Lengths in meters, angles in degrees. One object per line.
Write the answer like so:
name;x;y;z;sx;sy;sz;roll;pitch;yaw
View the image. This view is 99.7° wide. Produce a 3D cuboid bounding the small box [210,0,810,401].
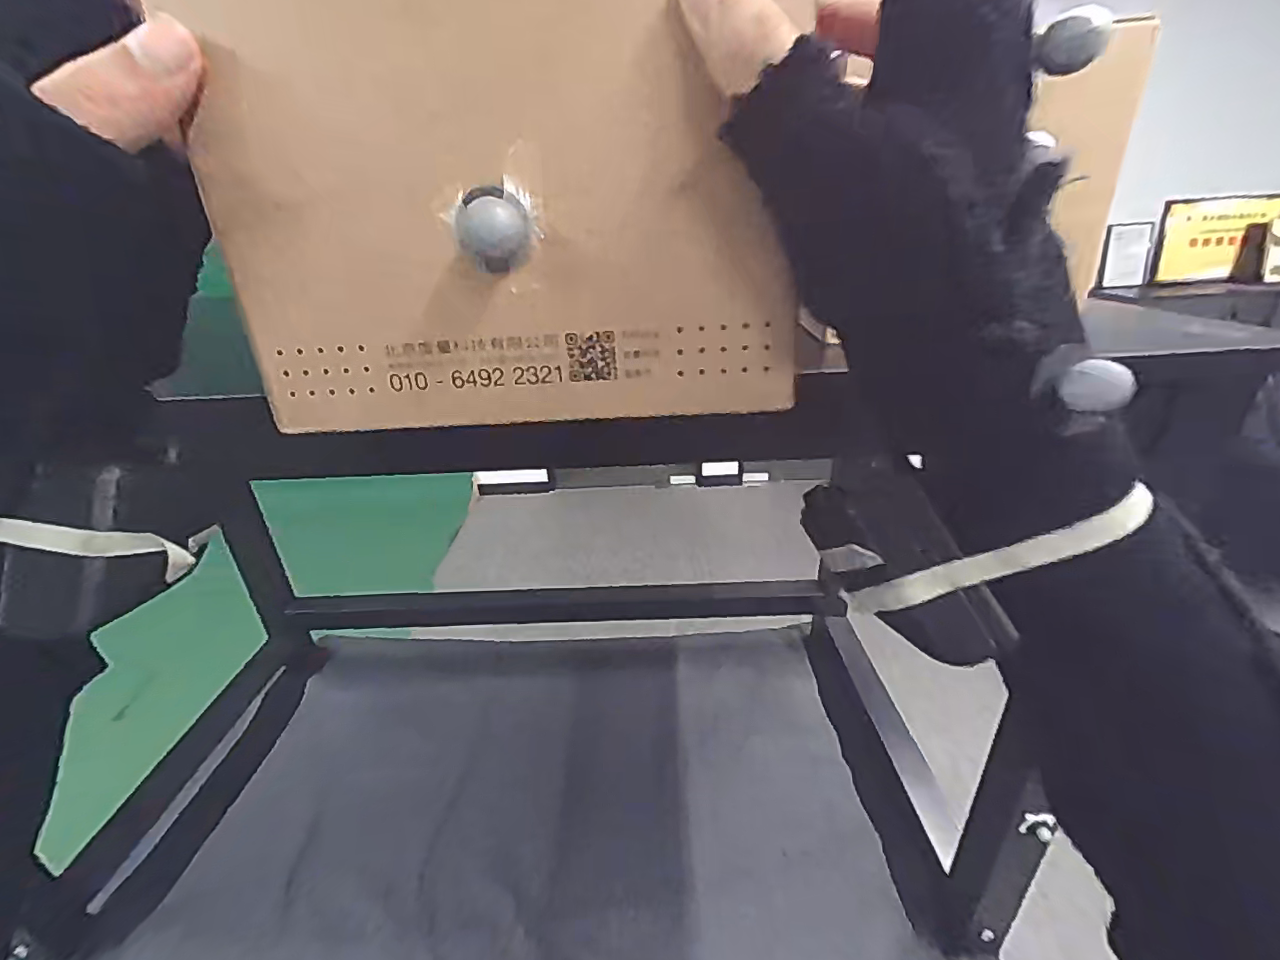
small box;-0.035;-0.133;0.221;0.168;0.176;0.179;-3;23;3
